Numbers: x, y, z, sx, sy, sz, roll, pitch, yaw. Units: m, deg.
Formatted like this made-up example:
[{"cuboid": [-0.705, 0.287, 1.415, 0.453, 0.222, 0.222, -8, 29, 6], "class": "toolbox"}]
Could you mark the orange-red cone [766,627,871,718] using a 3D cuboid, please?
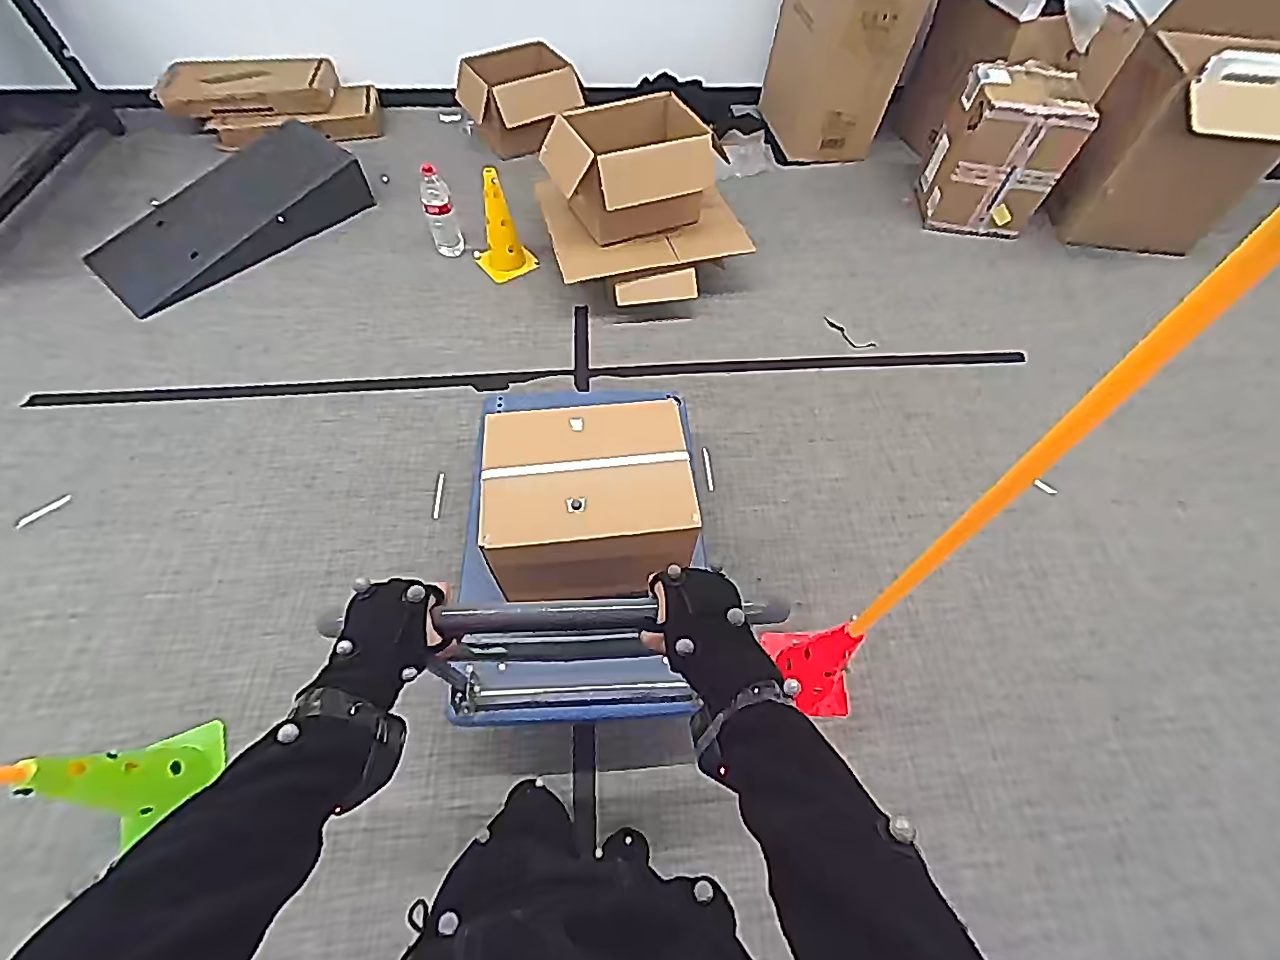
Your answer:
[{"cuboid": [0.419, 0.388, 1.182, 0.199, 0.360, 0.198, 3, 59, -1], "class": "orange-red cone"}]
